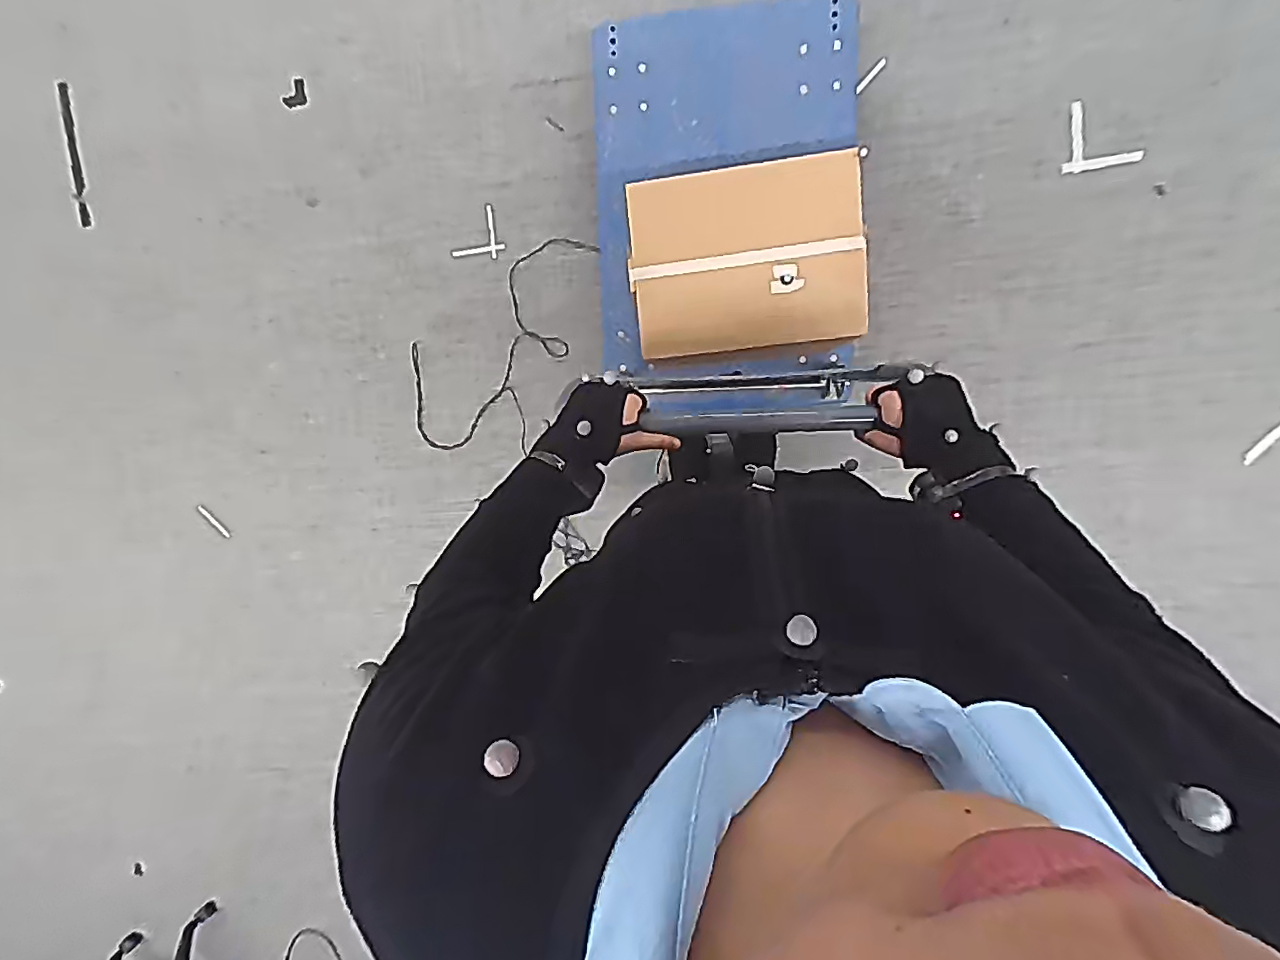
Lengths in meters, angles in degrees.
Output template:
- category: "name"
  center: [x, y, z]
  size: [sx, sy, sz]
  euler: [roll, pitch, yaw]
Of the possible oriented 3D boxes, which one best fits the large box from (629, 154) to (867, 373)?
- category: "large box"
  center: [0.206, -0.408, 1.114]
  size: [0.408, 0.320, 0.320]
  euler: [-6, 98, 6]
